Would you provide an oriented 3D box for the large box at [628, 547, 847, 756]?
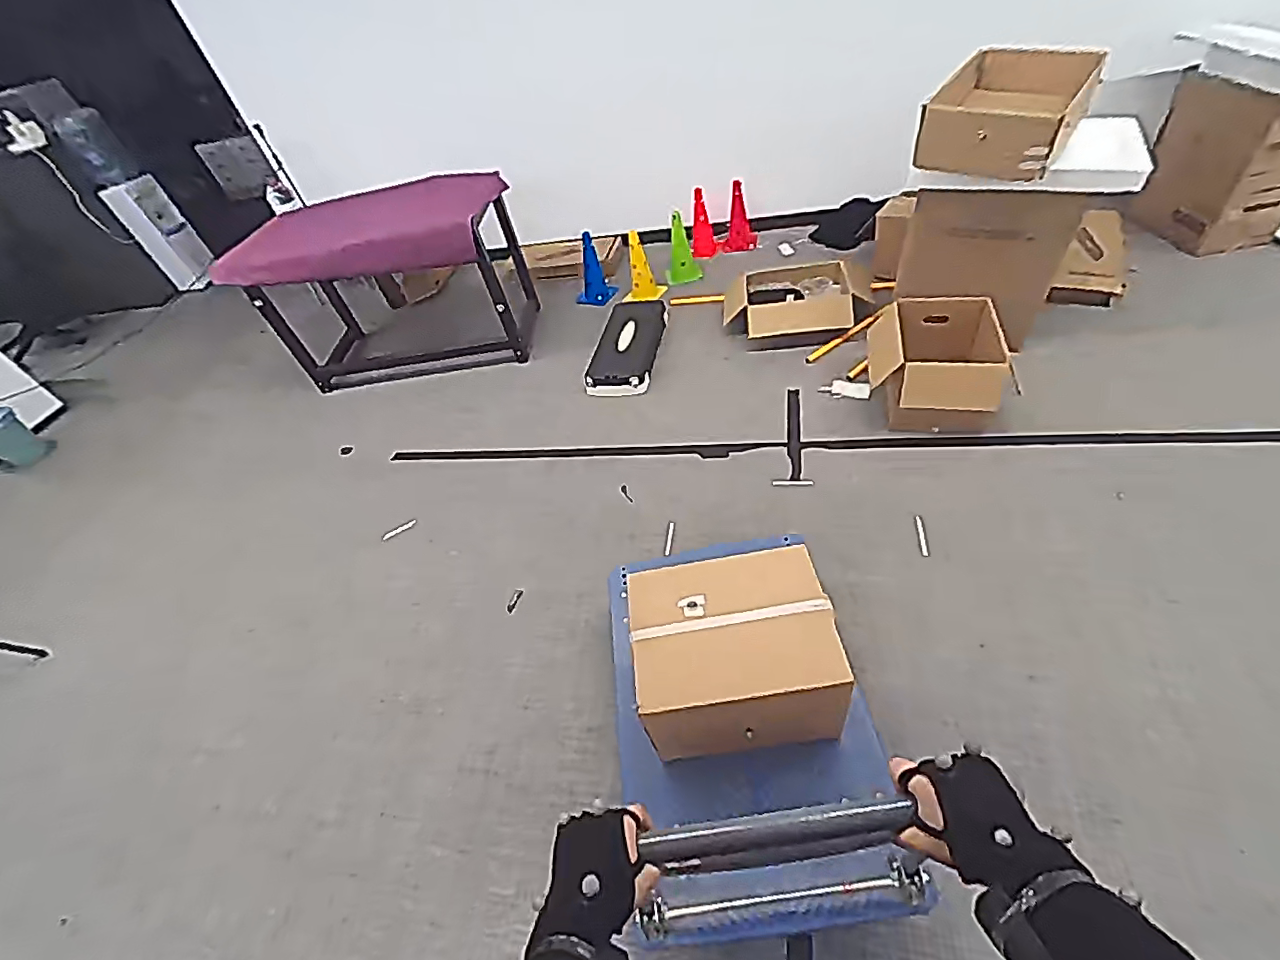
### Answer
[{"bbox_3d":[0.210,0.396,1.229,0.408,0.320,0.320,-12,46,5],"label":"large box"}]
